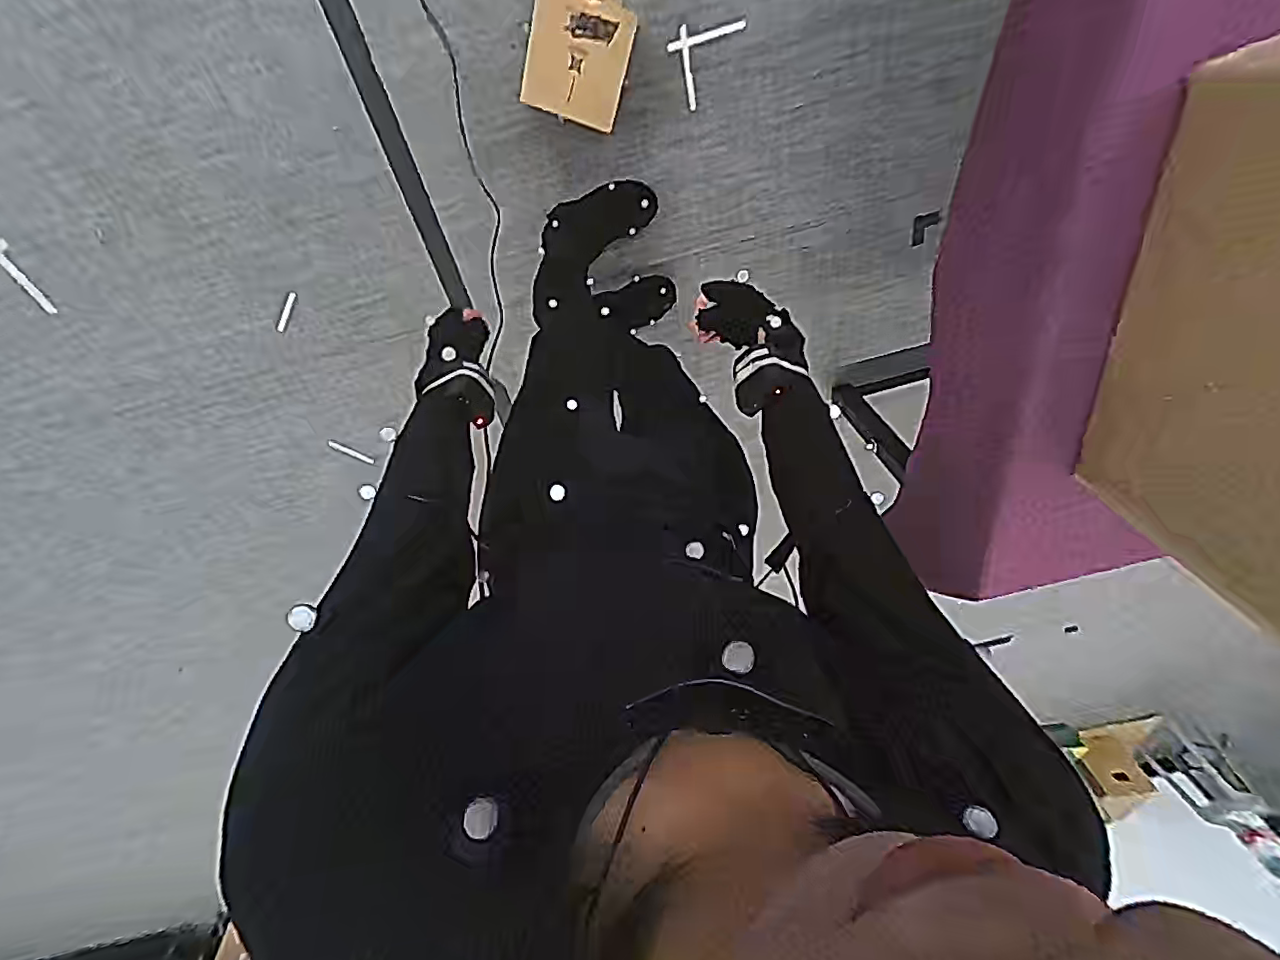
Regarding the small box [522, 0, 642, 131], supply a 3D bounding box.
[{"bbox_3d":[-0.108,-0.753,0.957,0.168,0.176,0.179,11,125,-16],"label":"small box"}]
